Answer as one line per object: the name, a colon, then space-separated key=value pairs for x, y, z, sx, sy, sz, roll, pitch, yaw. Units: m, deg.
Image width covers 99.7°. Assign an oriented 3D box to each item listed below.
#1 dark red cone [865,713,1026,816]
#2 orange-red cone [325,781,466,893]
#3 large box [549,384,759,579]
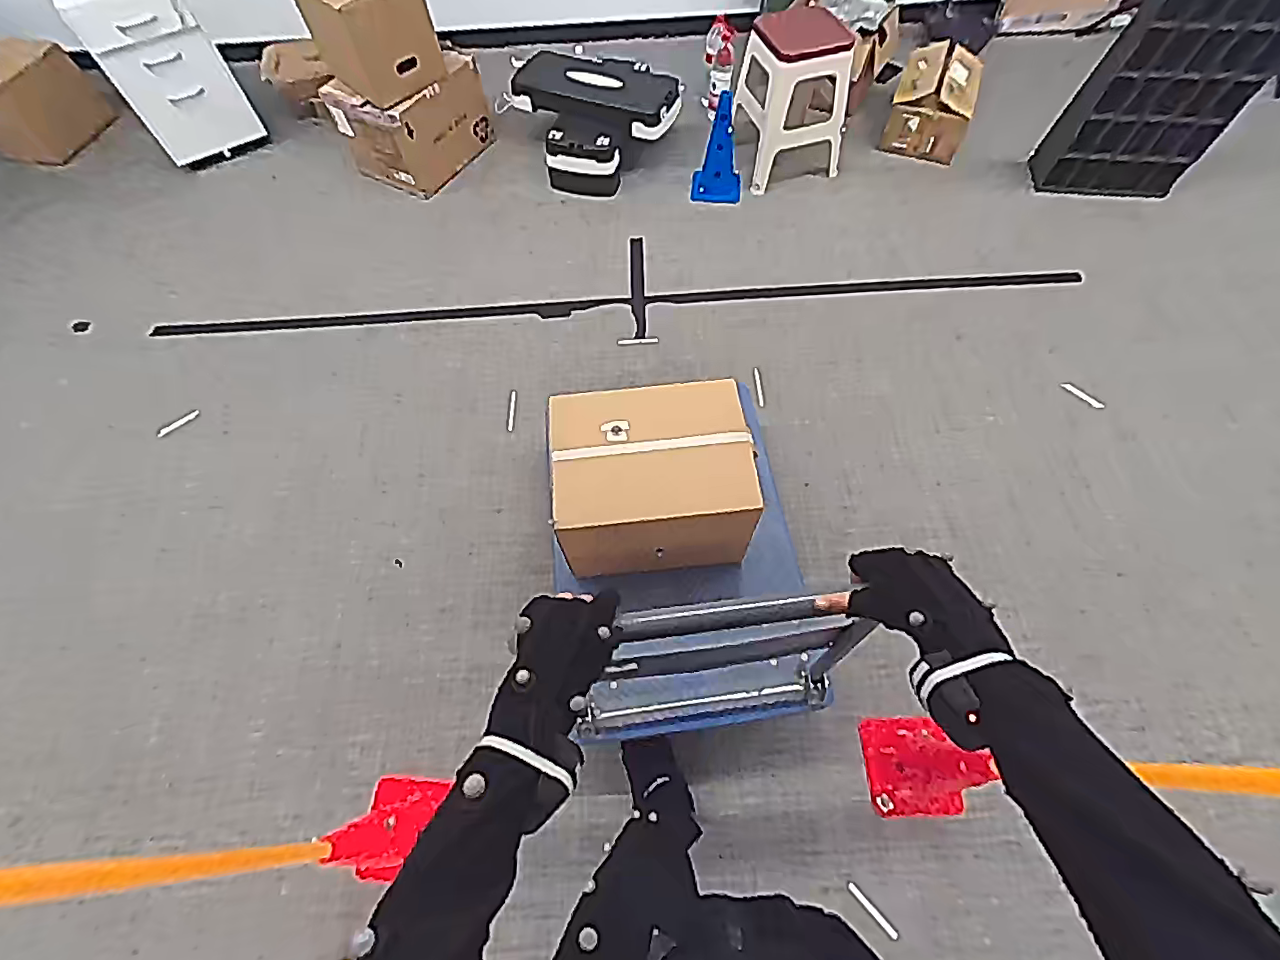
dark red cone: x=0.619 y=0.554 z=1.063 sx=0.201 sy=0.394 sz=0.202 roll=-2 pitch=62 yaw=-1
orange-red cone: x=-0.505 y=0.703 z=1.053 sx=0.198 sy=0.360 sz=0.199 roll=4 pitch=60 yaw=4
large box: x=0.025 y=0.016 z=1.237 sx=0.408 sy=0.320 sz=0.320 roll=-7 pitch=62 yaw=-1
